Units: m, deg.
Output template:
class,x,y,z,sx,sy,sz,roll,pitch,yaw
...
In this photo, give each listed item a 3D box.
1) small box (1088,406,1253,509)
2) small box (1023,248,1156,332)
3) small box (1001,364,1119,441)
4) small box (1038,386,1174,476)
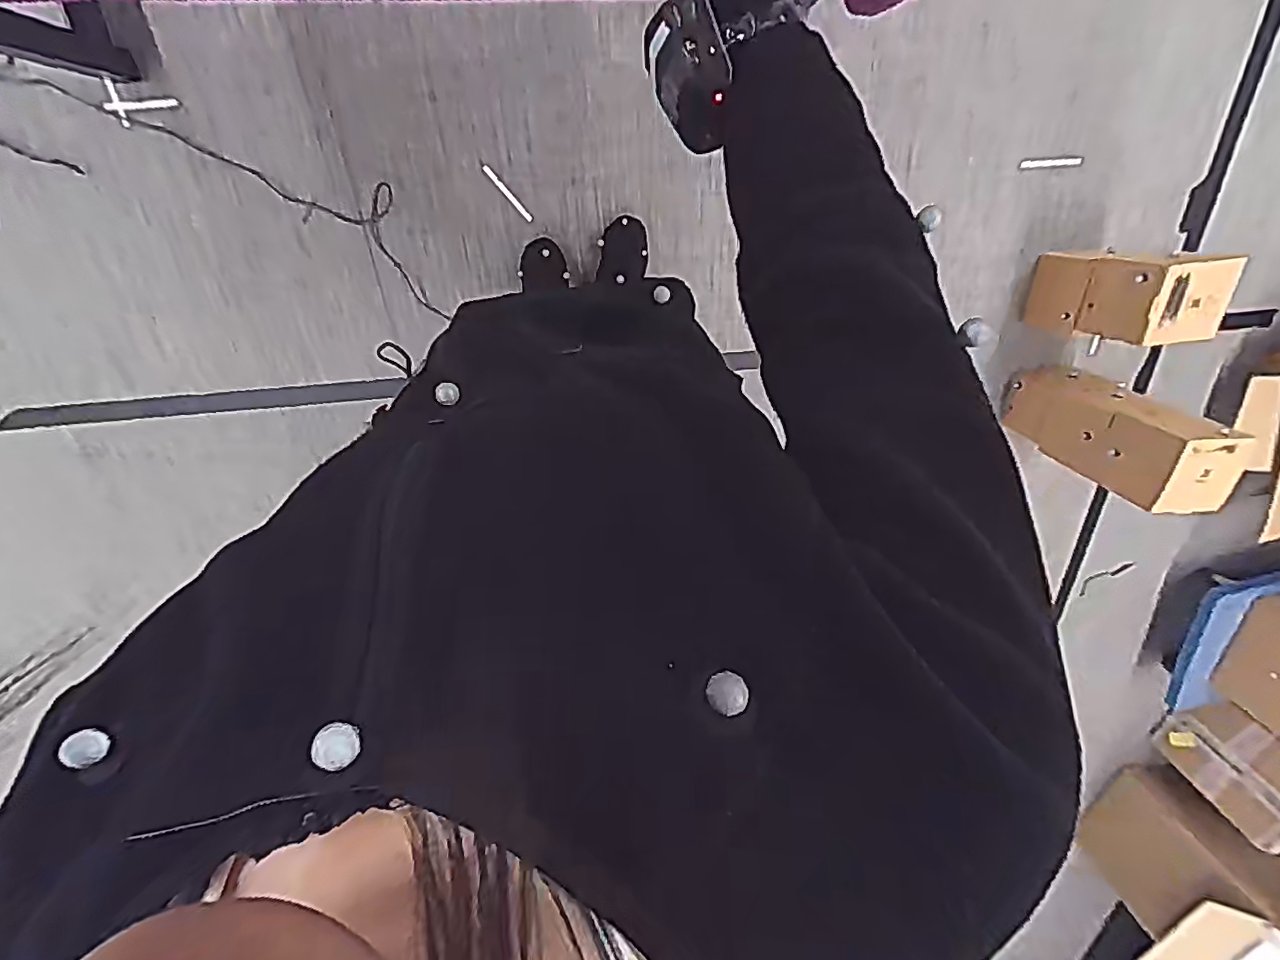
class,x,y,z,sx,sy,sz,roll,pitch,yaw
small box,1.160,-0.052,1.205,0.168,0.176,0.179,-1,119,-6
small box,1.104,-0.478,1.346,0.168,0.176,0.179,-6,119,-5
small box,1.144,-0.213,1.491,0.179,0.176,0.168,-7,119,-4
small box,1.146,-0.130,1.349,0.168,0.176,0.179,-4,119,-4
